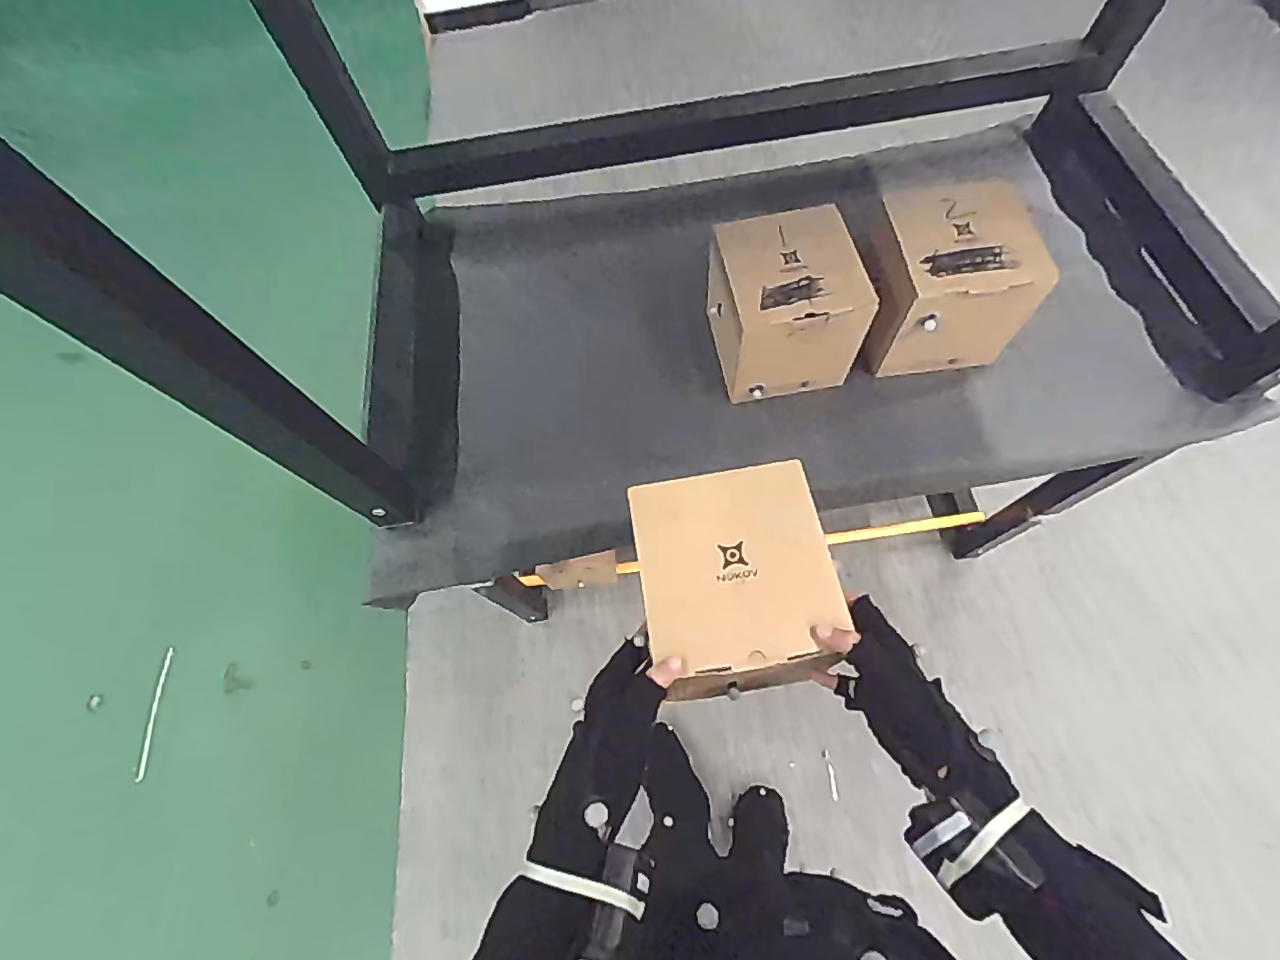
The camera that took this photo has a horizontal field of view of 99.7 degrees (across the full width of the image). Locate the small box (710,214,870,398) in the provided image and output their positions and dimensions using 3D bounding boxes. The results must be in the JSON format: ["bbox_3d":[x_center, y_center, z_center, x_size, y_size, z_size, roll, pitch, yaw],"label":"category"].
[{"bbox_3d":[0.195,-0.232,0.759,0.168,0.176,0.179,-10,65,1],"label":"small box"}]
